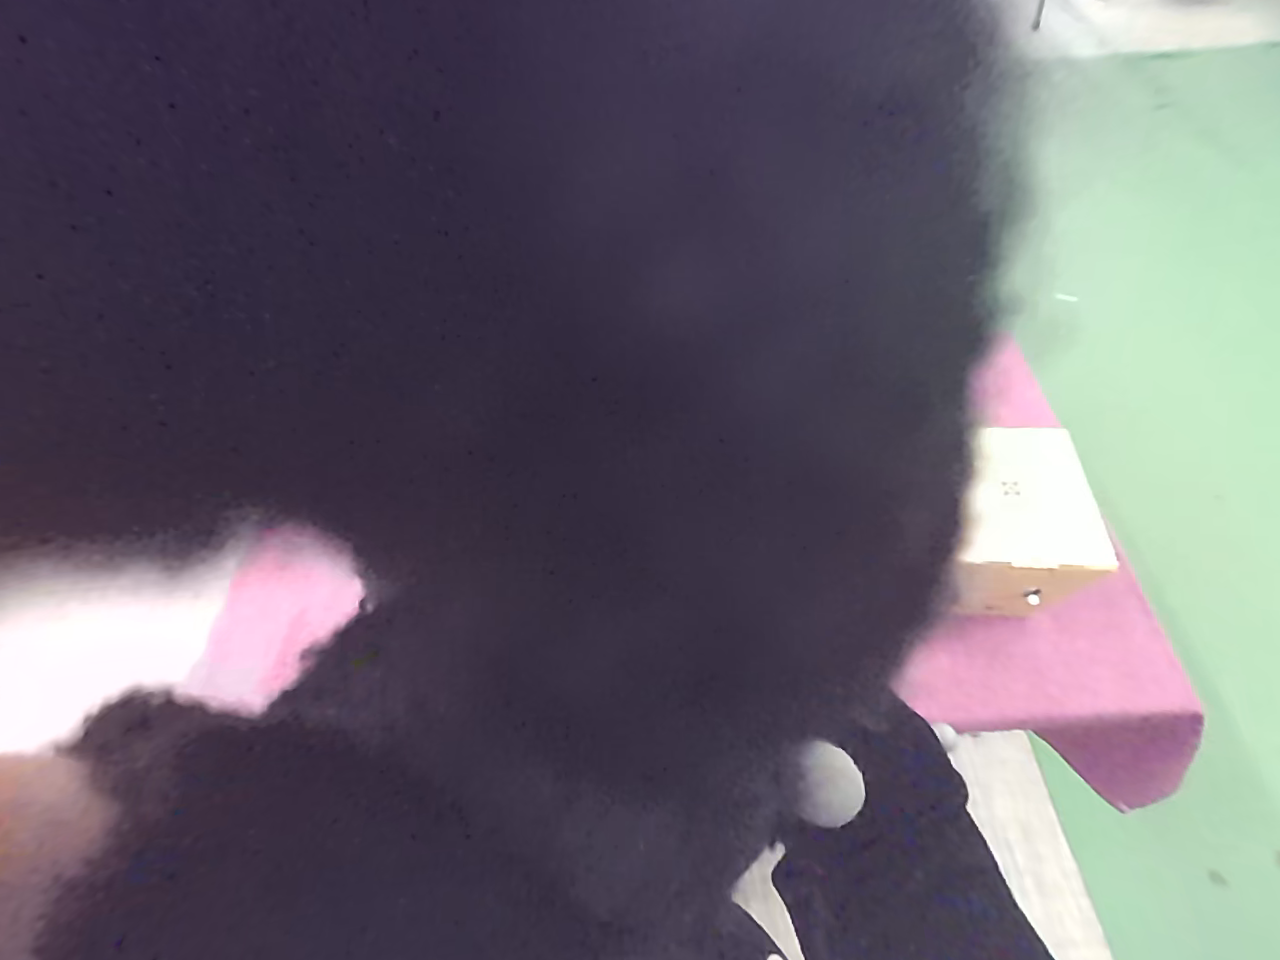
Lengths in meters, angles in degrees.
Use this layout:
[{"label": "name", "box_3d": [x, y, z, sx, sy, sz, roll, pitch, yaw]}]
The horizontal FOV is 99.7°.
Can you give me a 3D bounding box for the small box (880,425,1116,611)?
[{"label": "small box", "box_3d": [0.413, 0.052, 0.664, 0.168, 0.176, 0.179, 2, 59, 5]}]
